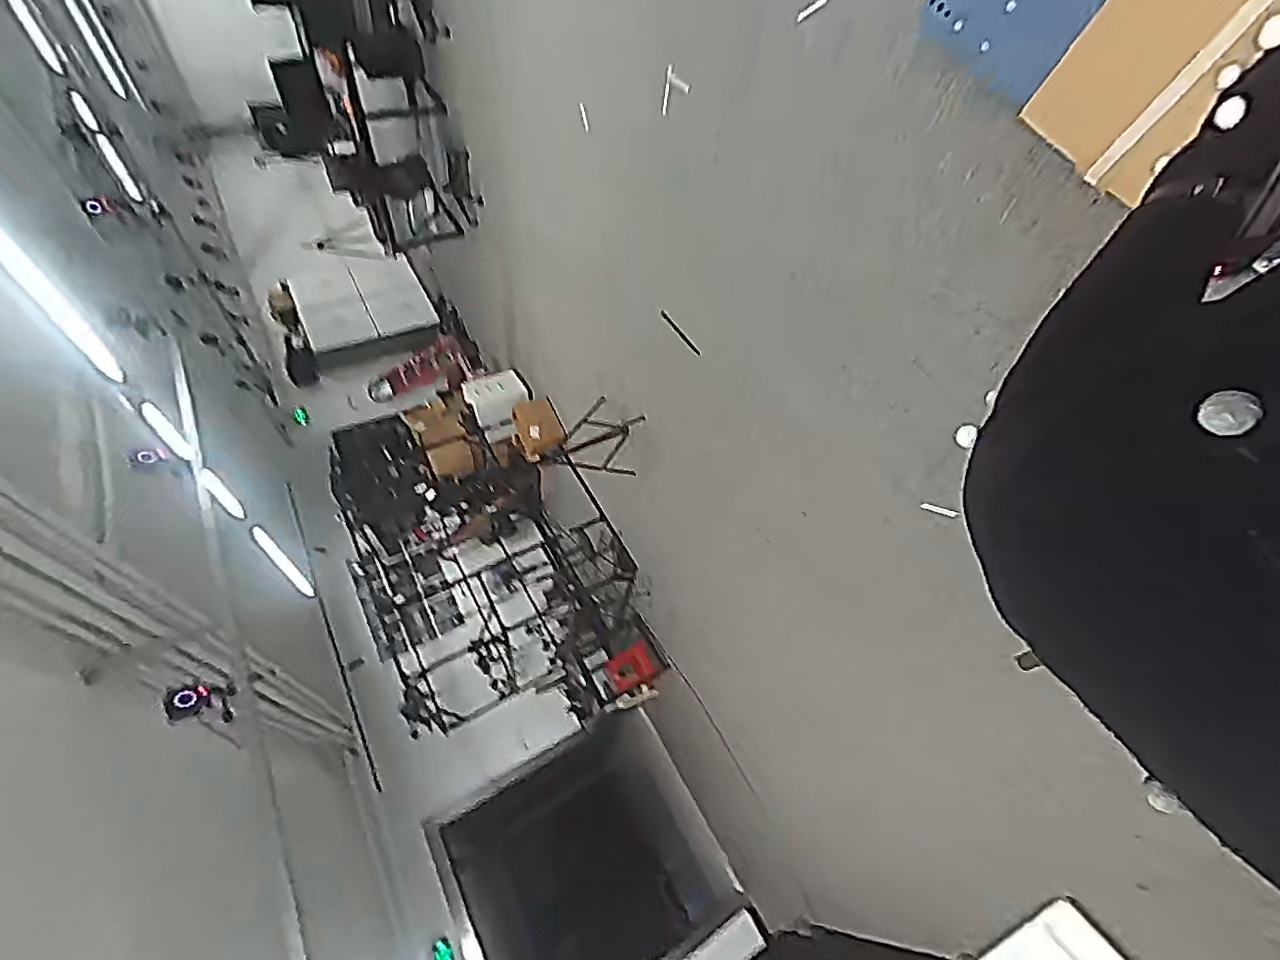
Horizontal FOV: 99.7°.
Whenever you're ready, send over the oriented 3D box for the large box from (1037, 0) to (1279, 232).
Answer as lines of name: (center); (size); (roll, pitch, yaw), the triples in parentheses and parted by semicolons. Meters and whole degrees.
large box: (0.856, -0.607, 0.688); (0.320, 0.320, 0.408); (58, 155, 19)
